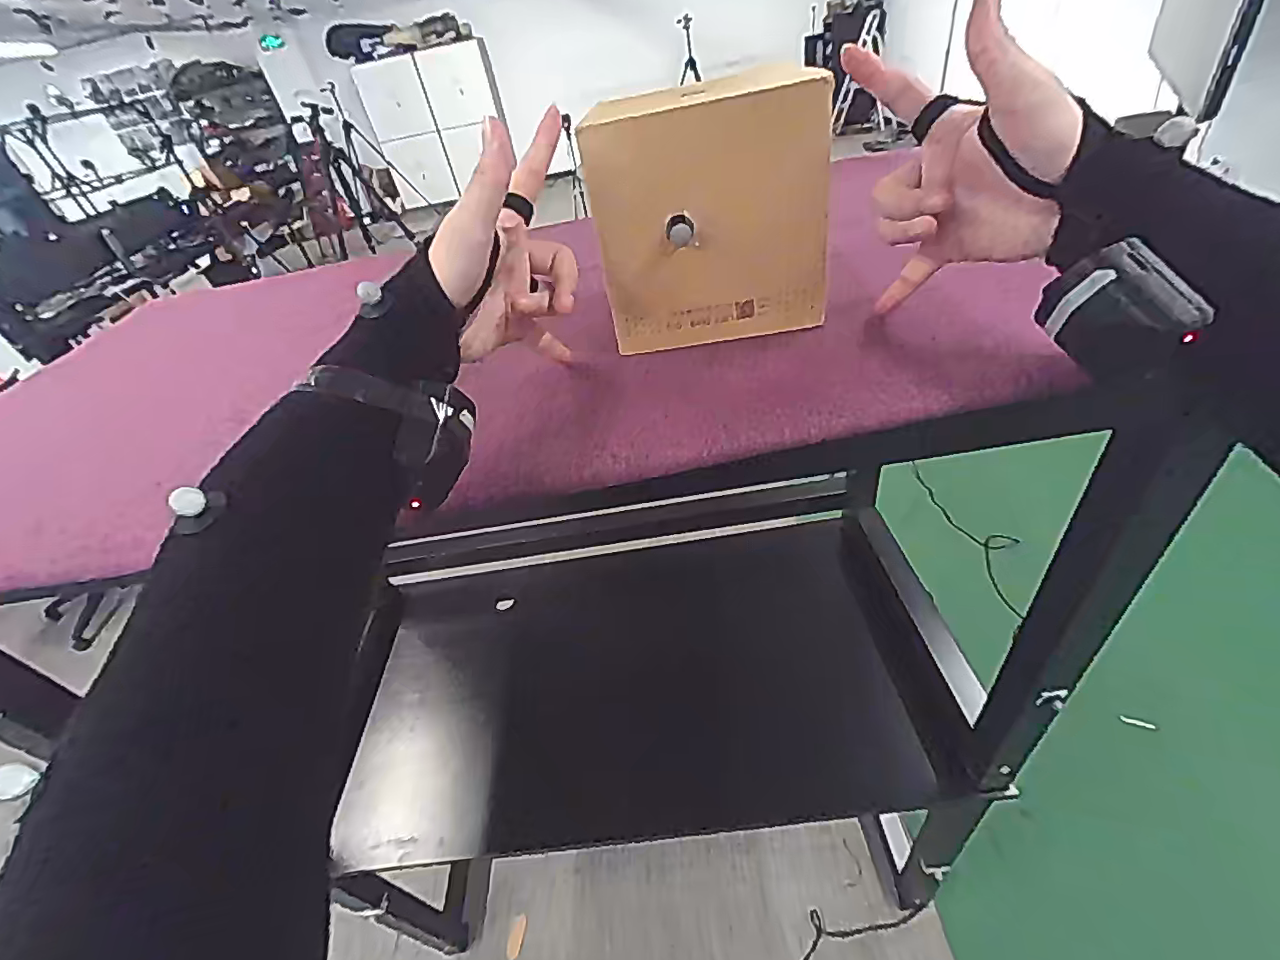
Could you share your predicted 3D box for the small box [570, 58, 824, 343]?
[{"bbox_3d":[0.051,-0.225,0.450,0.168,0.176,0.179,-7,38,7],"label":"small box"}]
